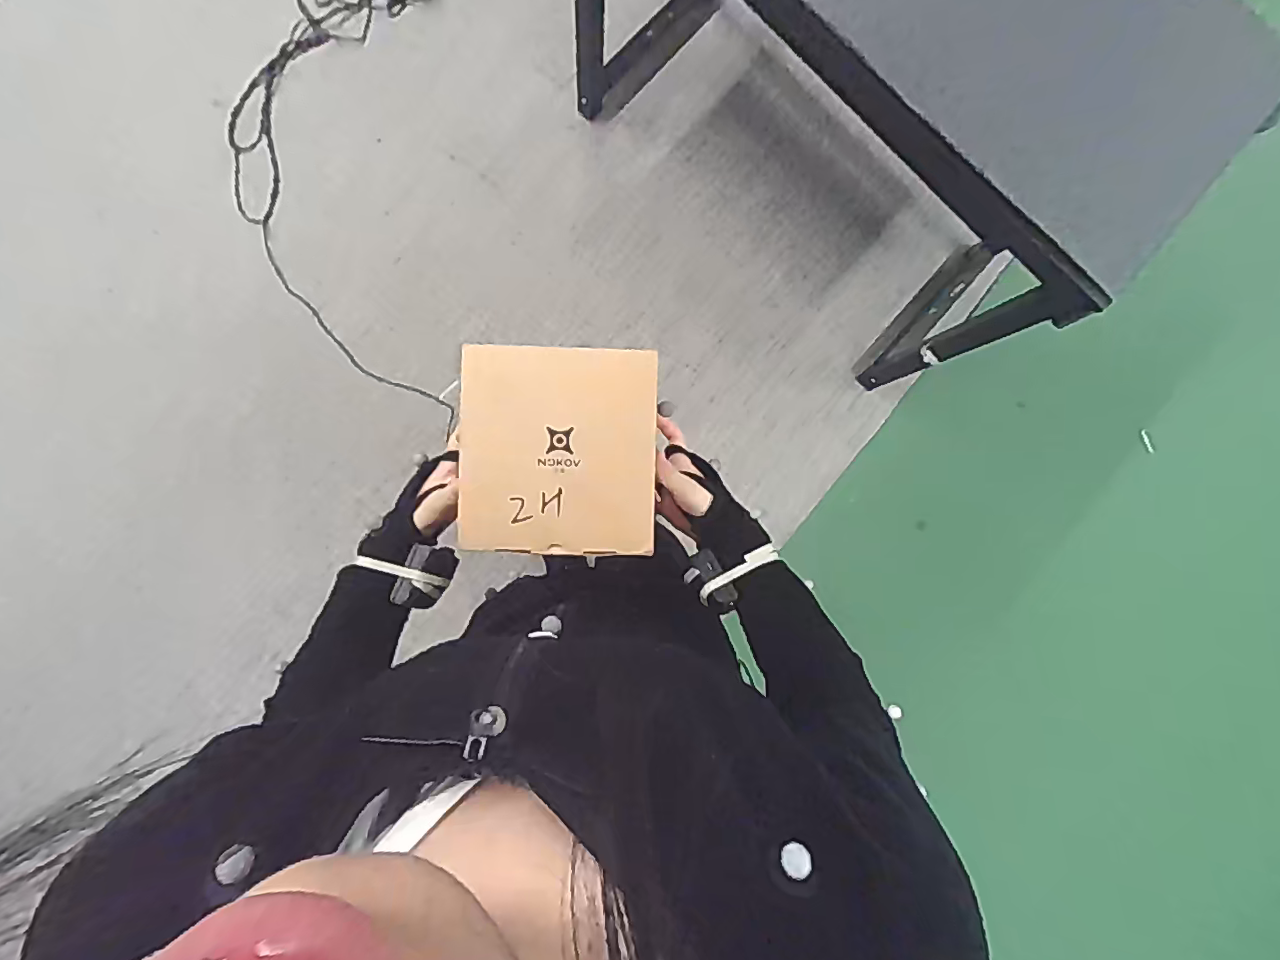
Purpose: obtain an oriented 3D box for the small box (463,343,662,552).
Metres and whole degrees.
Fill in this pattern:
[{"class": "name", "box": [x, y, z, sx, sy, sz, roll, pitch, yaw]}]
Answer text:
[{"class": "small box", "box": [-0.069, -0.027, 0.540, 0.168, 0.176, 0.179, 2, 91, -2]}]
